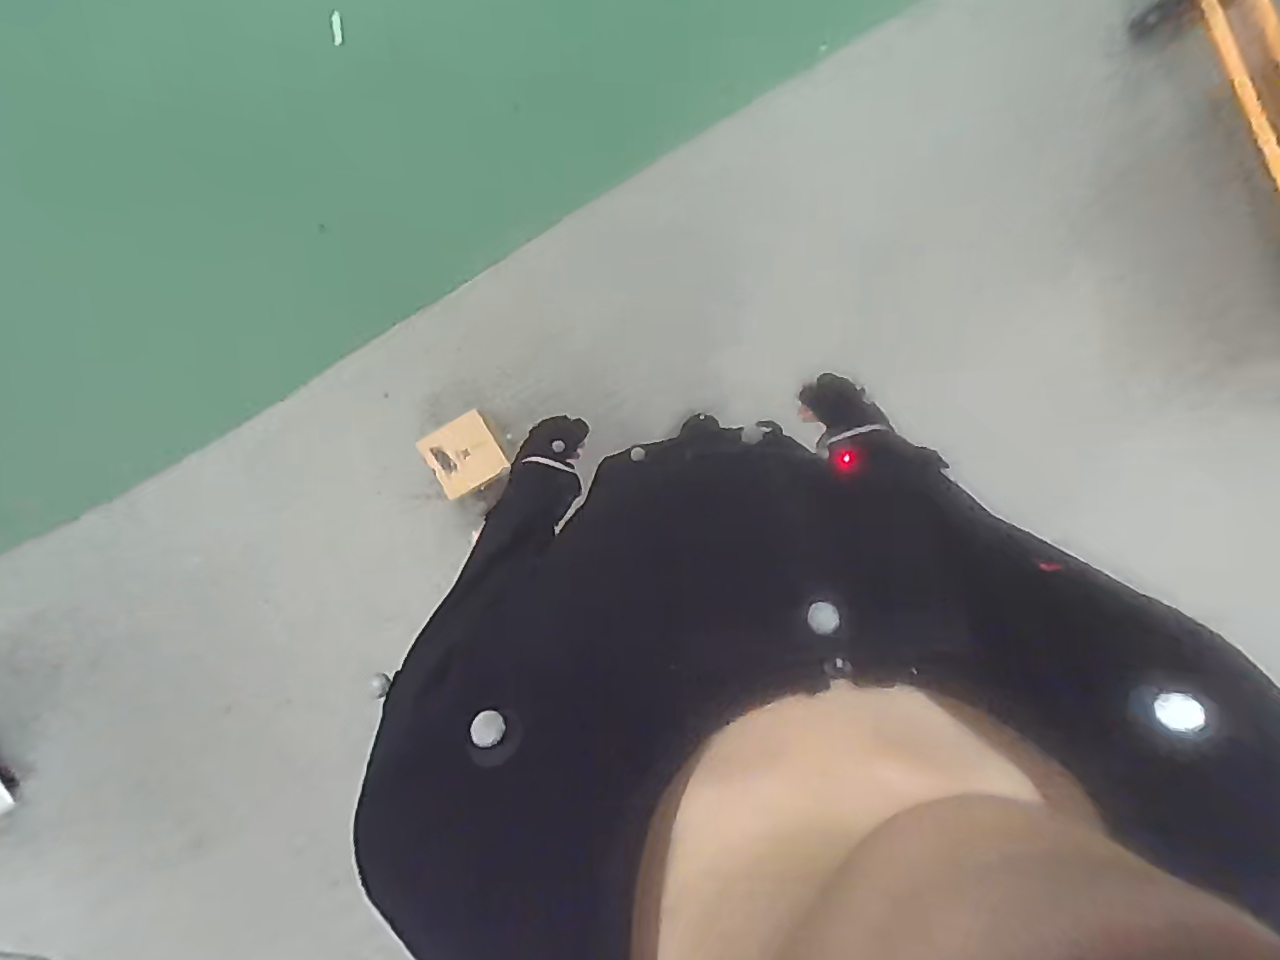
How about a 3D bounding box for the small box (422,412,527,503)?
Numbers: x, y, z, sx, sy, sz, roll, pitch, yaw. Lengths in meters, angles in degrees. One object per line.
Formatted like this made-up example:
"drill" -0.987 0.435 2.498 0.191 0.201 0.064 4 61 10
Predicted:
"small box" -0.415 -0.058 1.389 0.179 0.176 0.168 -31 94 2
